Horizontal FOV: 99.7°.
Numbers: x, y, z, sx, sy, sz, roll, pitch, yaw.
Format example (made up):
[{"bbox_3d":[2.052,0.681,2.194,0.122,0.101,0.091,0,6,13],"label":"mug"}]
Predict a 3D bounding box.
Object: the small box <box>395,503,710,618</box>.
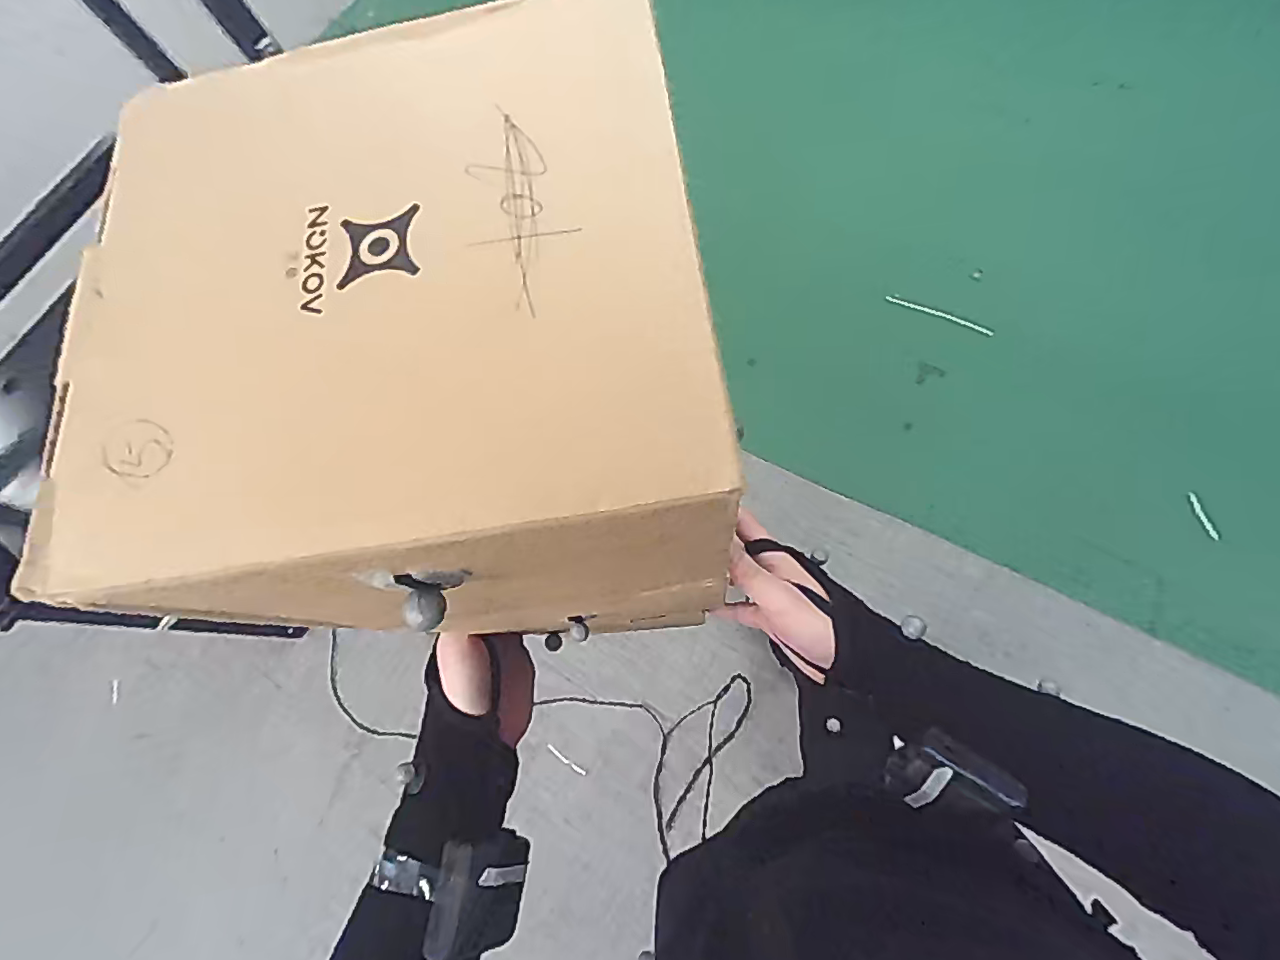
[{"bbox_3d":[-0.048,0.002,0.387,0.179,0.176,0.168,-10,71,6],"label":"small box"}]
